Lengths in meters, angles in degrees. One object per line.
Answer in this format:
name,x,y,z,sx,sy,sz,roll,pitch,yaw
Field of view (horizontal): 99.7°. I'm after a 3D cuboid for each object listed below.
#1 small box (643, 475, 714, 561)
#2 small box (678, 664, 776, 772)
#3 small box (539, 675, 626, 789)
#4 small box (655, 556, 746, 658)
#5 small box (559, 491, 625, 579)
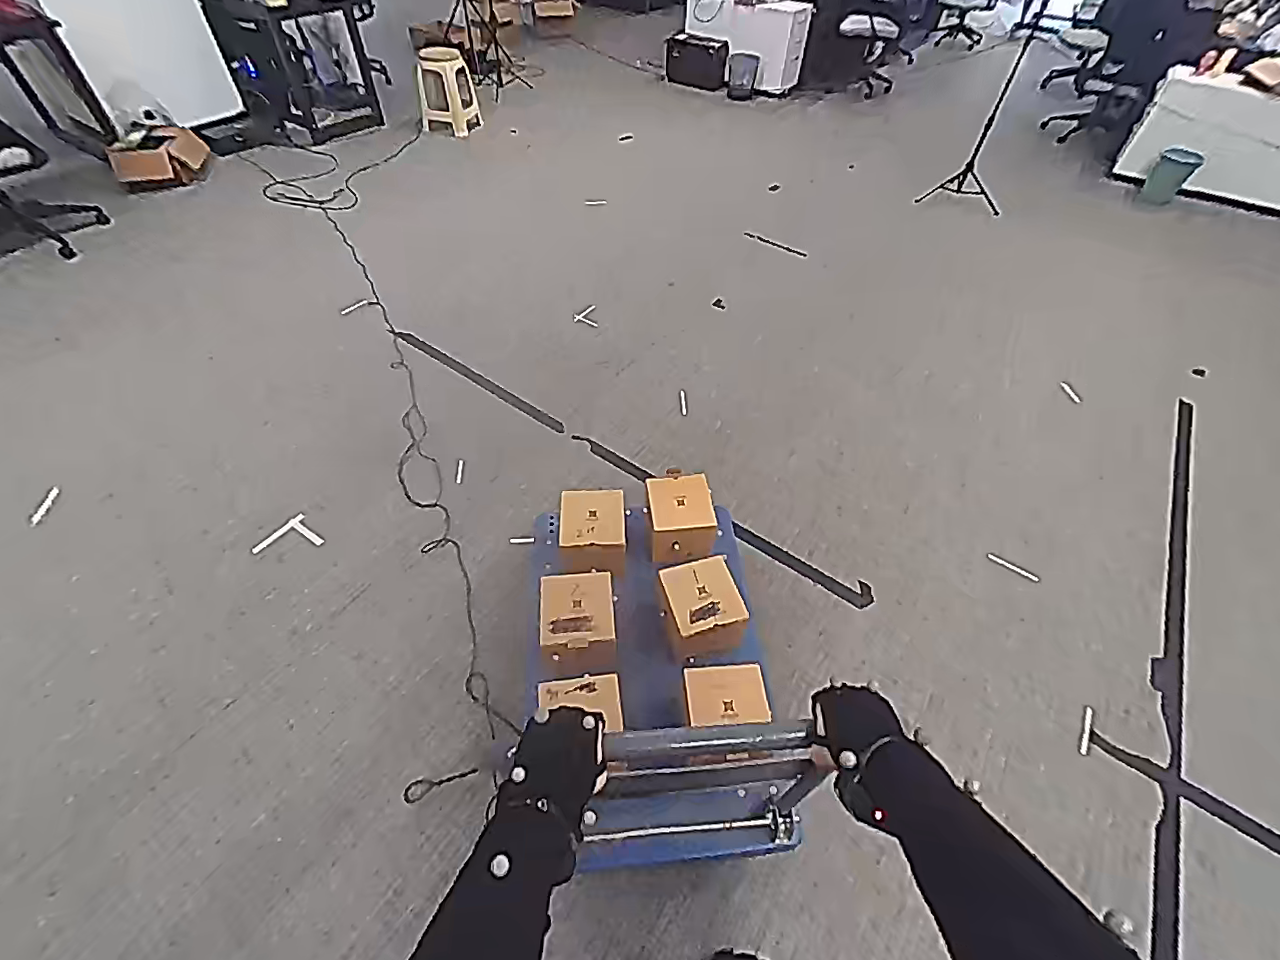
small box,0.101,0.111,1.495,0.168,0.176,0.179,-5,50,-6
small box,0.177,0.515,1.159,0.168,0.176,0.179,-2,49,-5
small box,-0.119,0.531,1.131,0.168,0.176,0.179,-5,51,-8
small box,0.141,0.318,1.322,0.168,0.176,0.179,-12,51,-12
small box,-0.127,0.149,1.452,0.168,0.176,0.179,-1,51,-3
